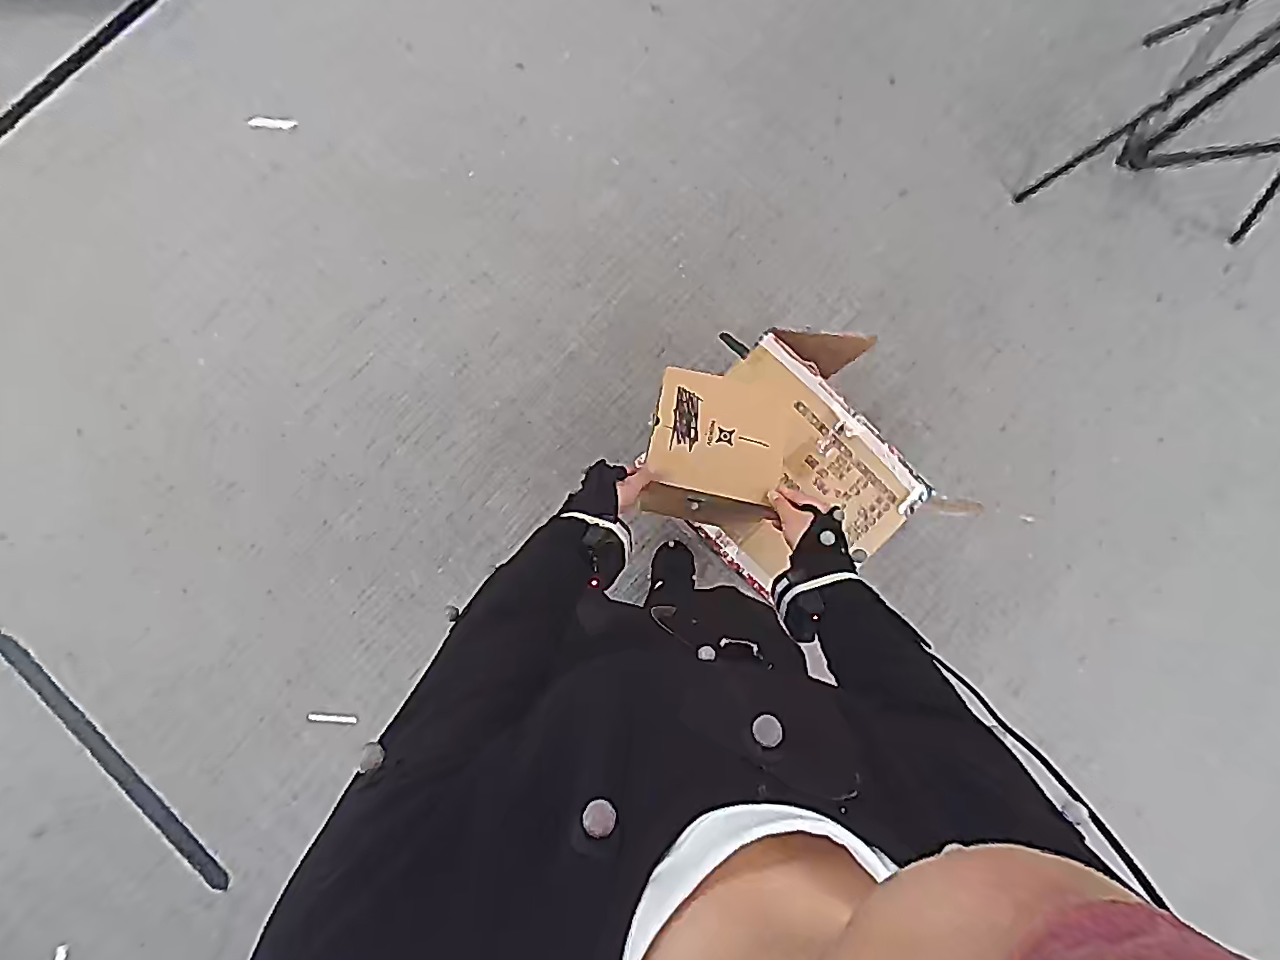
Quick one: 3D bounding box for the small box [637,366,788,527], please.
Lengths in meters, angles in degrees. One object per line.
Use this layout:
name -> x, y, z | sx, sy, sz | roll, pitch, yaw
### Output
small box -> 0.095, -0.038, 0.778 | 0.179, 0.176, 0.168 | 12, 74, 1
